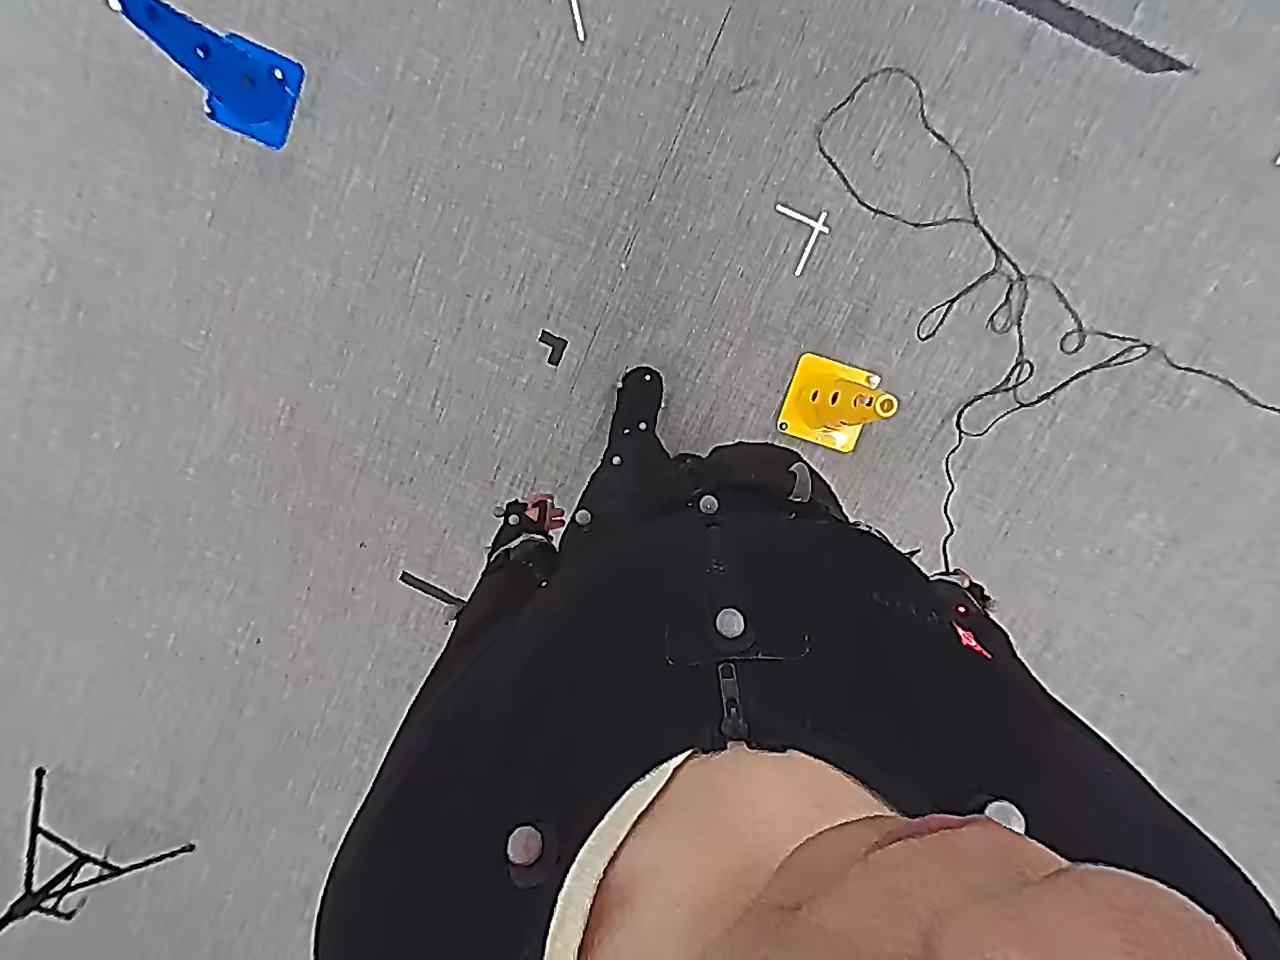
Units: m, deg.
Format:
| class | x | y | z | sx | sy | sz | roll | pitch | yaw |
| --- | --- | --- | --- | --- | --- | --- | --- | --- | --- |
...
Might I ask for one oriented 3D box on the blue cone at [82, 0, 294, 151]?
| class | x | y | z | sx | sy | sz | roll | pitch | yaw |
| --- | --- | --- | --- | --- | --- | --- | --- | --- | --- |
| blue cone | -0.918 | -0.862 | 1.095 | 0.193 | 0.380 | 0.192 | 25 | 100 | -1 |
